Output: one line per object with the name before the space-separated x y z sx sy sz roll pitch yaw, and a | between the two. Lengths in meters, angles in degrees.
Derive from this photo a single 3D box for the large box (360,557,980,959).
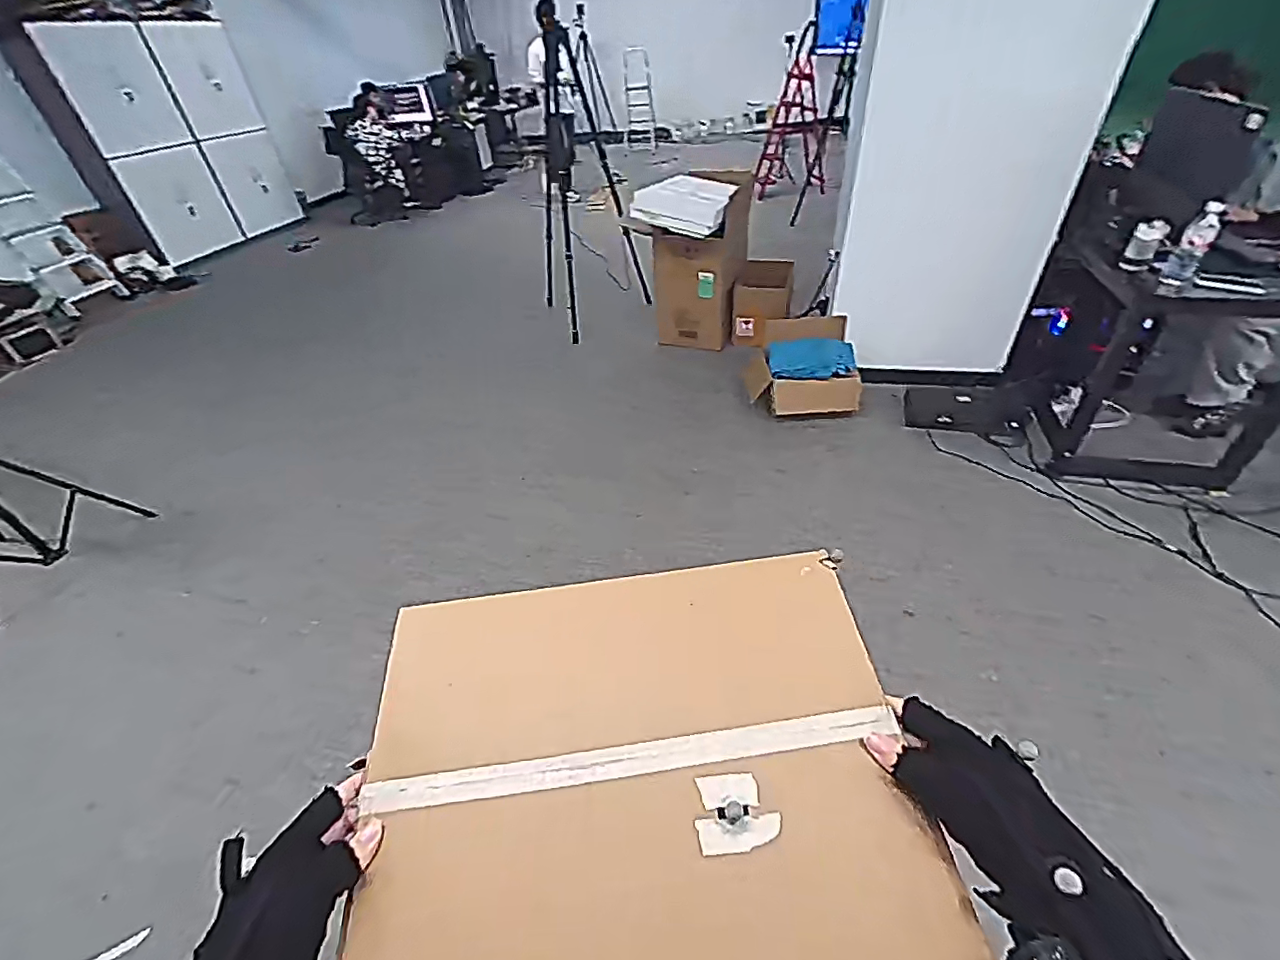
large box | 0.006 0.314 0.535 0.408 0.320 0.320 -8 50 -3
